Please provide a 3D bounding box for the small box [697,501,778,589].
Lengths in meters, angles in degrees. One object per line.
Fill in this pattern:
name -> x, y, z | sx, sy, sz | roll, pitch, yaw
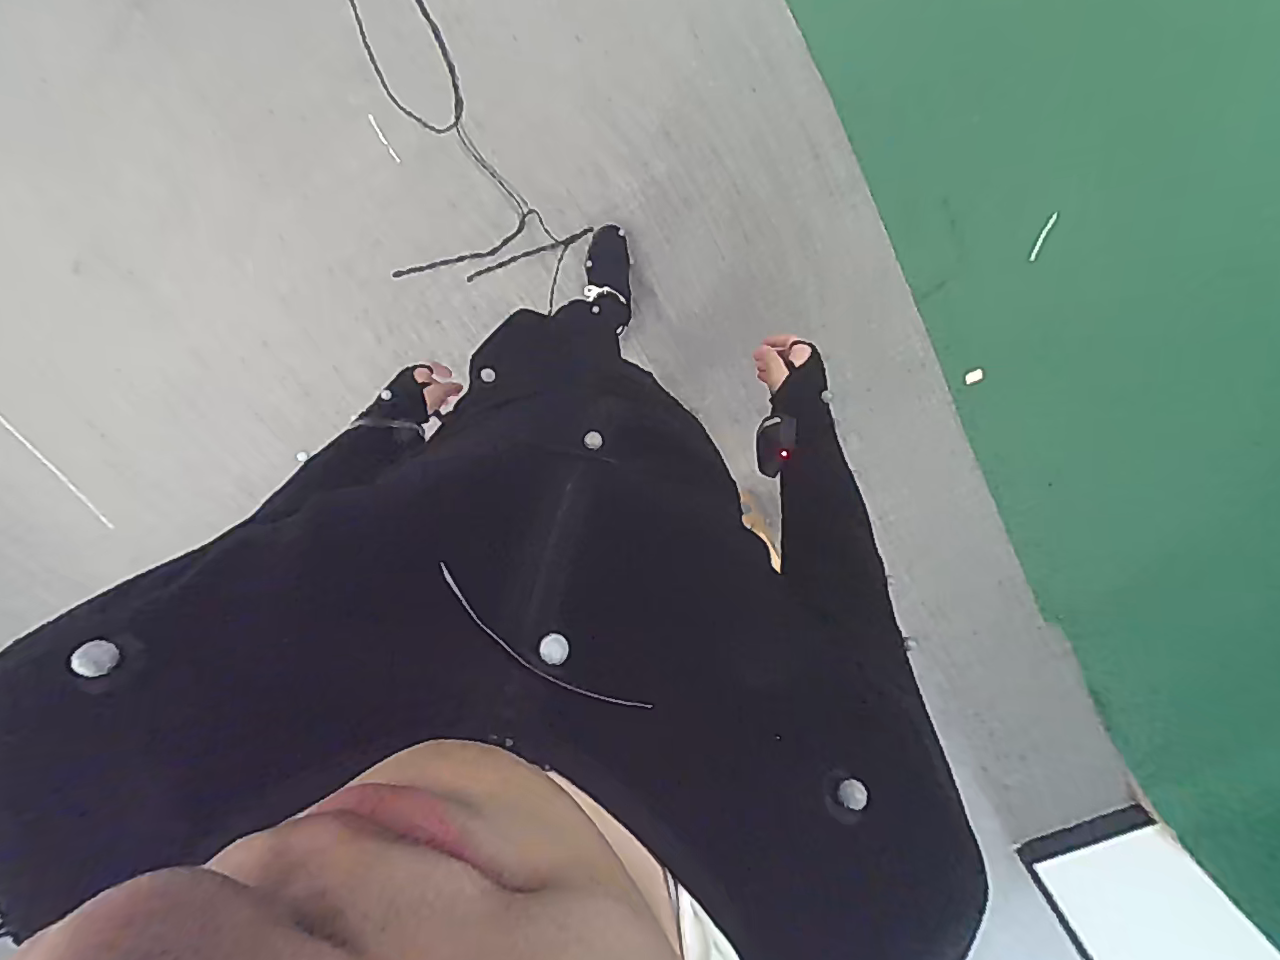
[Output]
small box -> 0.286, 0.188, 1.621 | 0.179, 0.176, 0.168 | -29, 105, 11
